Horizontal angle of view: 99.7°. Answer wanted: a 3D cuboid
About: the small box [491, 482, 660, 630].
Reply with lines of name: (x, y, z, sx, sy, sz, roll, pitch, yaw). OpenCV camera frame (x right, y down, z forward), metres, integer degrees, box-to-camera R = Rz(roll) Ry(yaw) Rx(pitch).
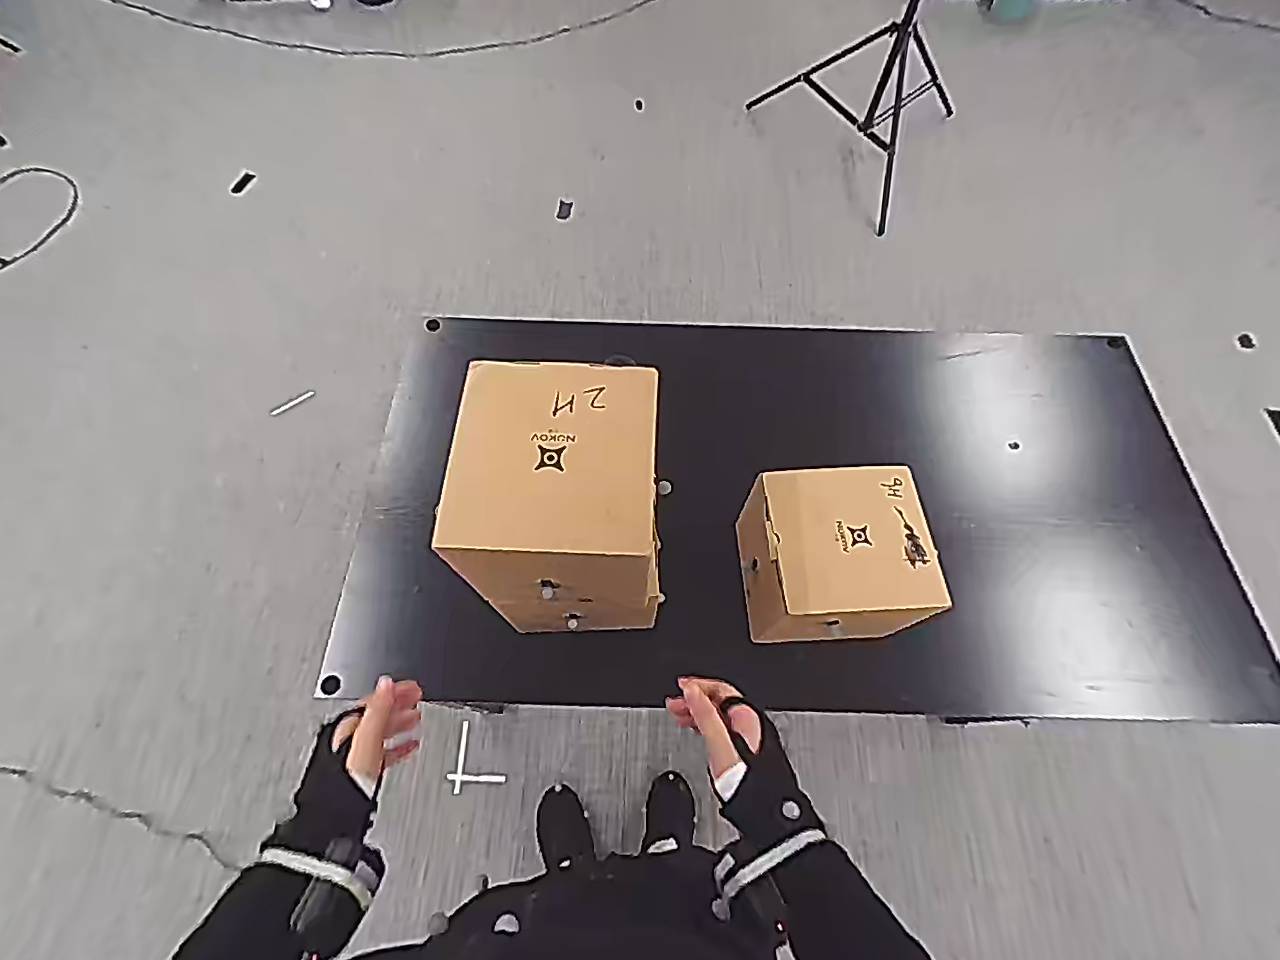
small box: (-0.070, 0.086, 0.664, 0.179, 0.176, 0.168, -2, 64, -1)

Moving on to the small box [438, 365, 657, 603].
small box: (-0.070, 0.014, 0.516, 0.168, 0.176, 0.179, 2, 63, 0)

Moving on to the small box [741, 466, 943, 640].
small box: (0.226, 0.097, 0.664, 0.179, 0.176, 0.168, -3, 64, -1)
